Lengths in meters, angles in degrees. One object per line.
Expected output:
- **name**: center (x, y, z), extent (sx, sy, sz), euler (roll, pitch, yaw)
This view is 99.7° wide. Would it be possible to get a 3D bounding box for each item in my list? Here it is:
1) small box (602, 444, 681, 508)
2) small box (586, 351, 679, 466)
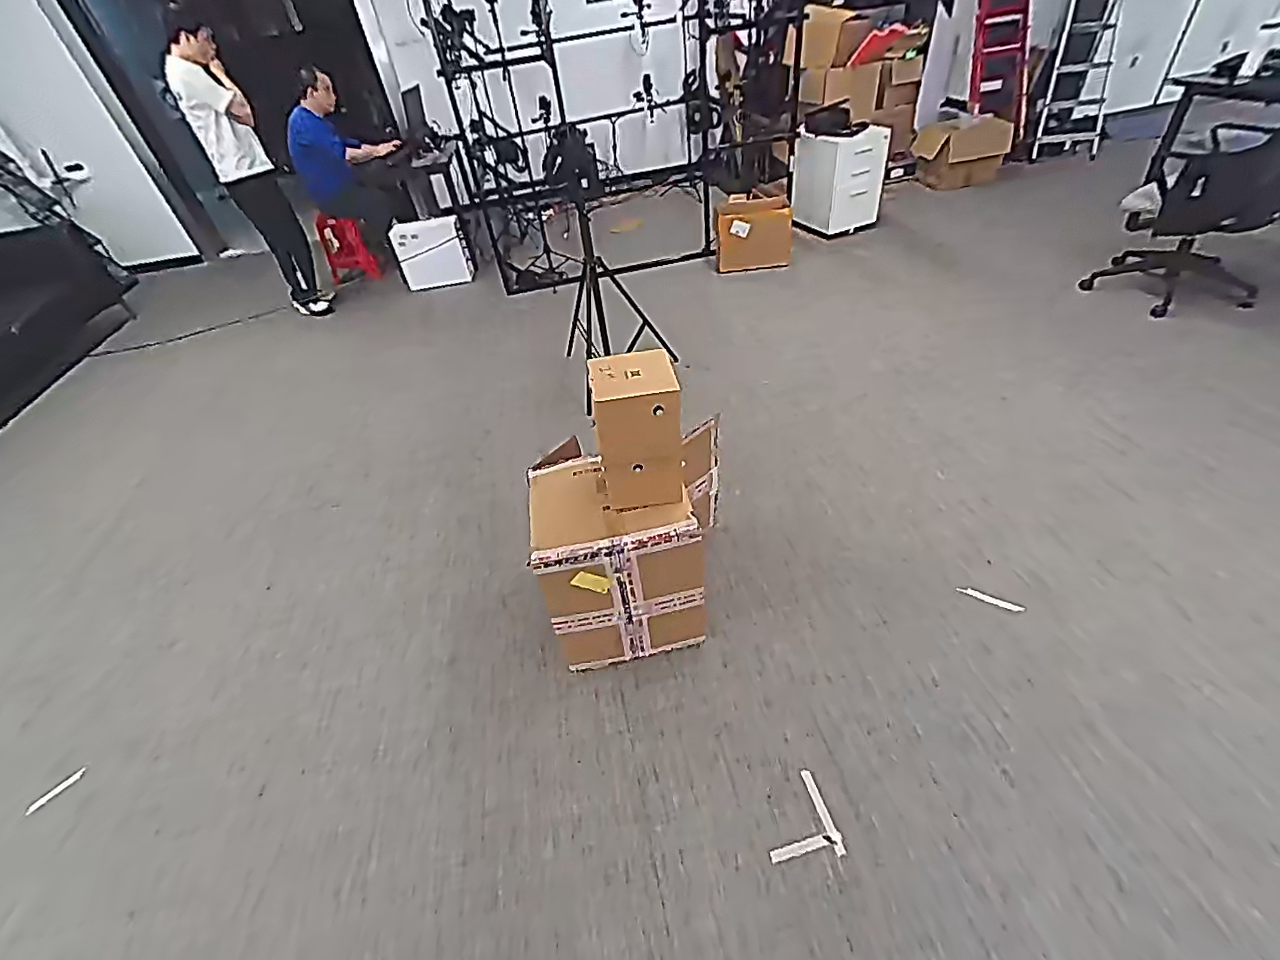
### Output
- **small box**: center (-0.001, -0.049, 1.292), extent (0.179, 0.176, 0.168), euler (-7, 43, -1)
- **small box**: center (-0.015, -0.152, 1.162), extent (0.179, 0.176, 0.168), euler (-9, 43, -3)
